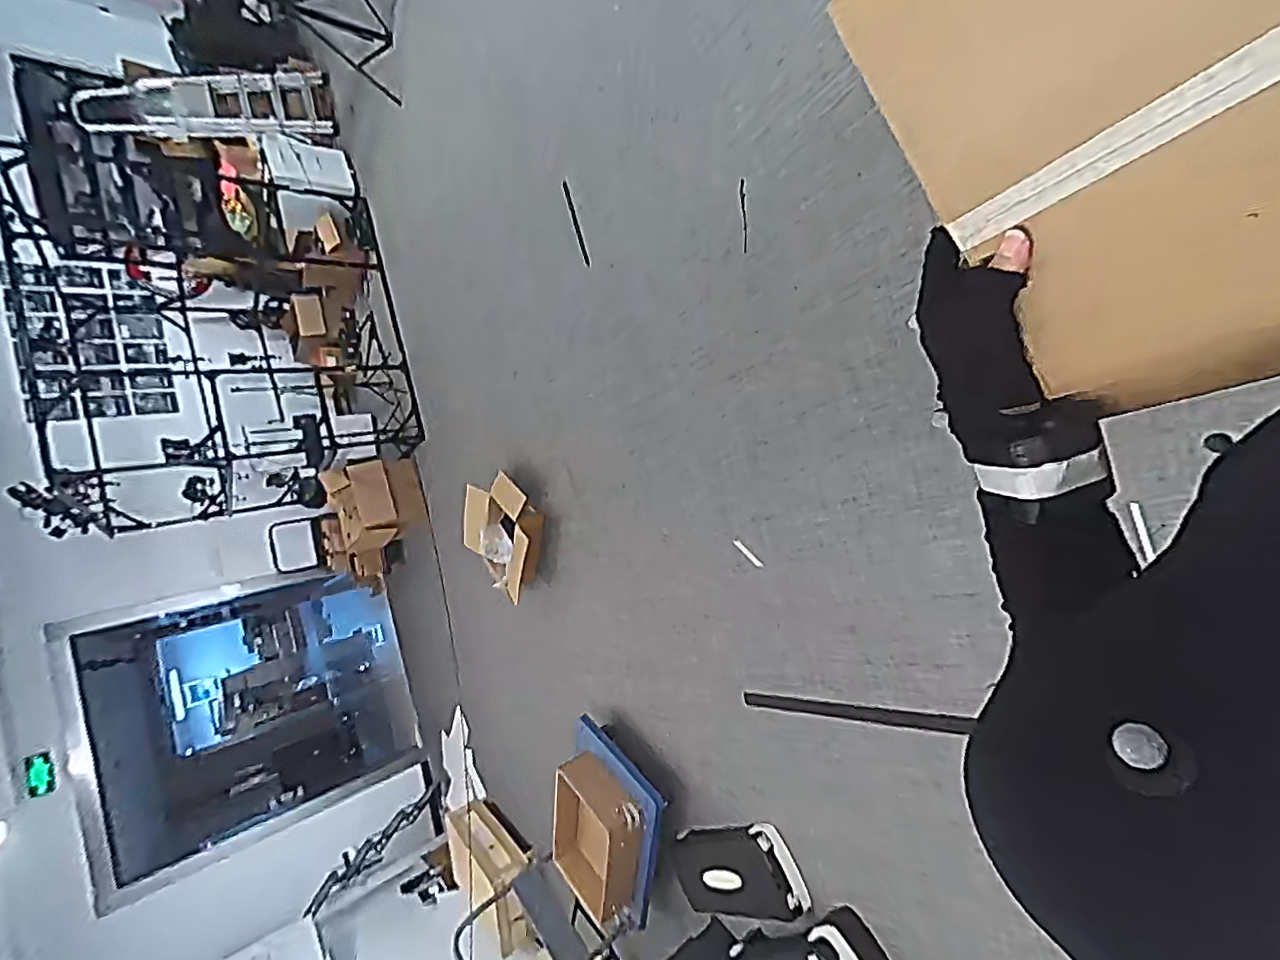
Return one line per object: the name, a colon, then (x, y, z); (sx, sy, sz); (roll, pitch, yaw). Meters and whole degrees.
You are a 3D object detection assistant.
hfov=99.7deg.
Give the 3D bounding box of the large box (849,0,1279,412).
large box: (0.406, -0.295, 0.281); (0.320, 0.320, 0.408); (51, 146, -12)
